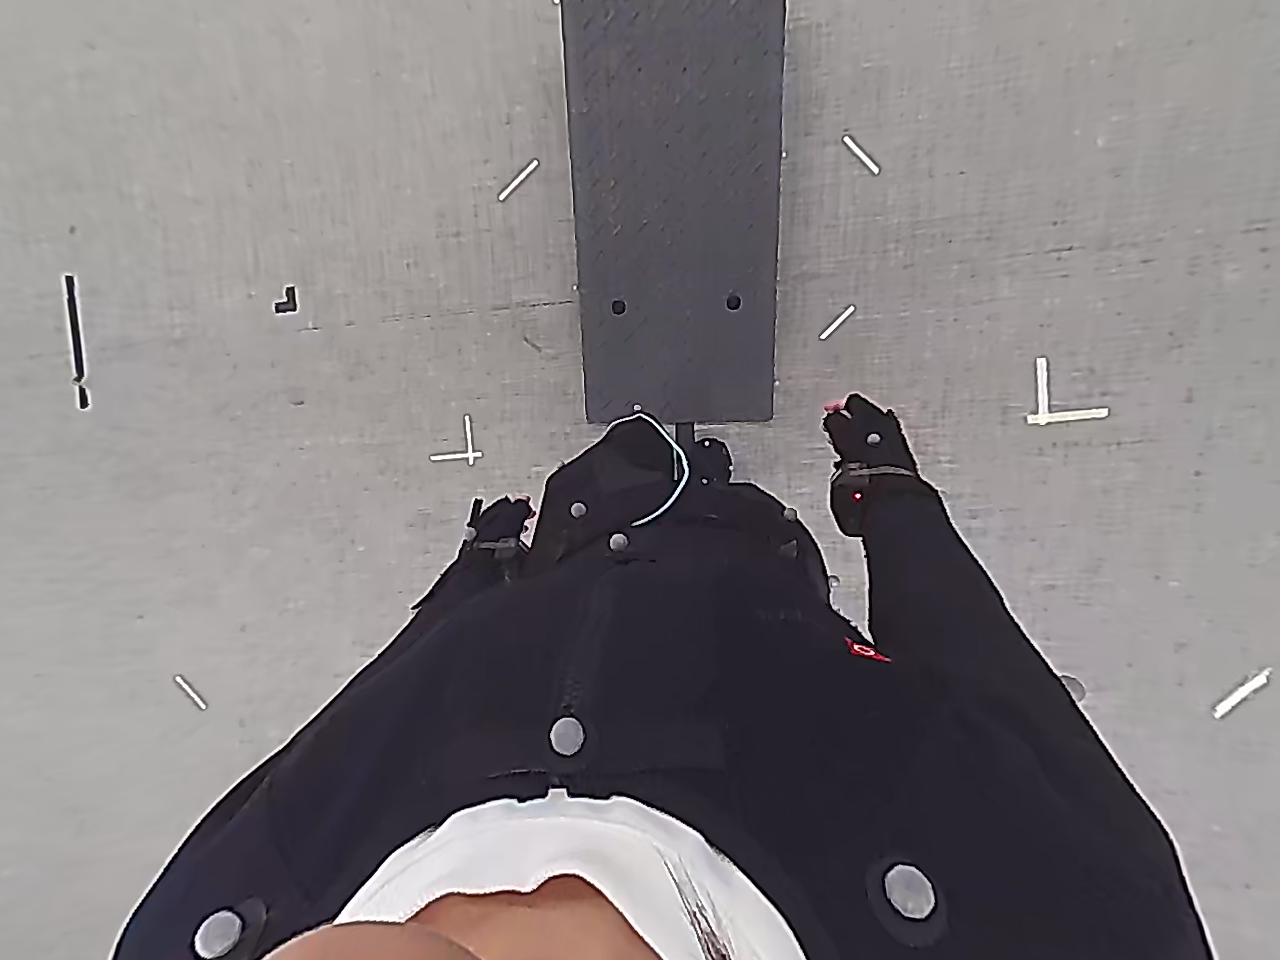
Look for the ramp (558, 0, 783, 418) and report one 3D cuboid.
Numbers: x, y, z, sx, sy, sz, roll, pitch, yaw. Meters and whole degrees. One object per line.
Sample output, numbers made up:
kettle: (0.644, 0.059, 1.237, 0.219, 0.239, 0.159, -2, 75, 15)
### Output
ramp: (0.079, -0.645, 1.284, 0.509, 0.206, 0.991, -2, 96, 7)
